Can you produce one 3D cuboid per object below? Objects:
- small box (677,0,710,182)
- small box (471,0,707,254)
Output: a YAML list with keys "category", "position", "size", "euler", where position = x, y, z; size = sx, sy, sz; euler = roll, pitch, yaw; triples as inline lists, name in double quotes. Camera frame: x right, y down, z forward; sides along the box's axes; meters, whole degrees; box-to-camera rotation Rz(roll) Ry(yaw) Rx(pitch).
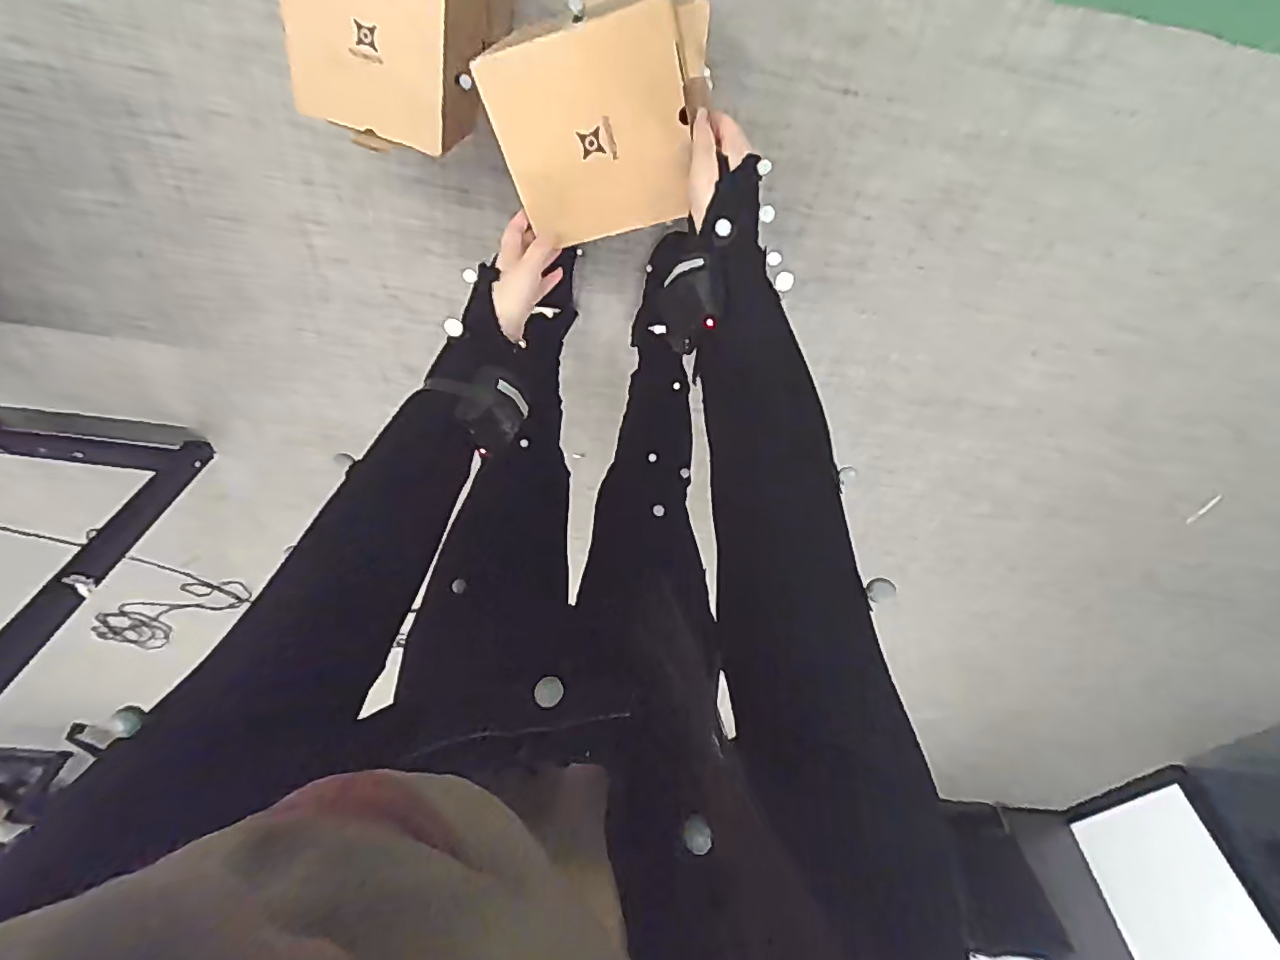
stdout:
- category: "small box"
  position: [-0.012, -0.462, 0.658]
  size: [0.179, 0.176, 0.168]
  euler: [-7, 135, 8]
- category: "small box"
  position: [-0.034, -0.354, 0.537]
  size: [0.179, 0.176, 0.168]
  euler: [-9, 134, 12]
